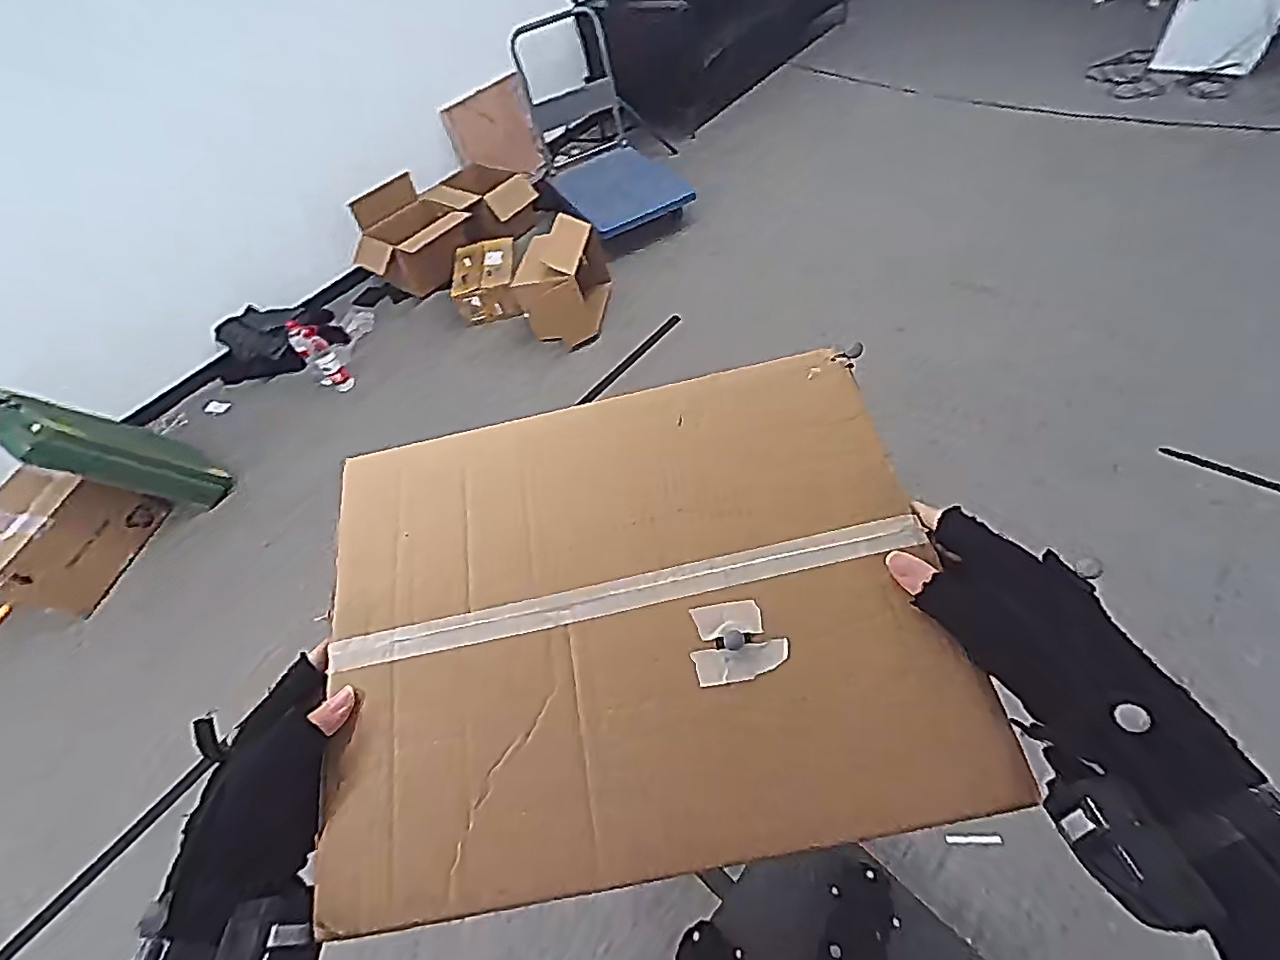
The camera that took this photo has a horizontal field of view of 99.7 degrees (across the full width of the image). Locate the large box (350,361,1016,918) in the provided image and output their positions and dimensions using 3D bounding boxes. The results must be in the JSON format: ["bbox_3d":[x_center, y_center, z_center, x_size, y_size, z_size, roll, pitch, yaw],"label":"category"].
[{"bbox_3d":[0.012,0.144,0.509,0.408,0.320,0.320,-12,64,2],"label":"large box"}]
